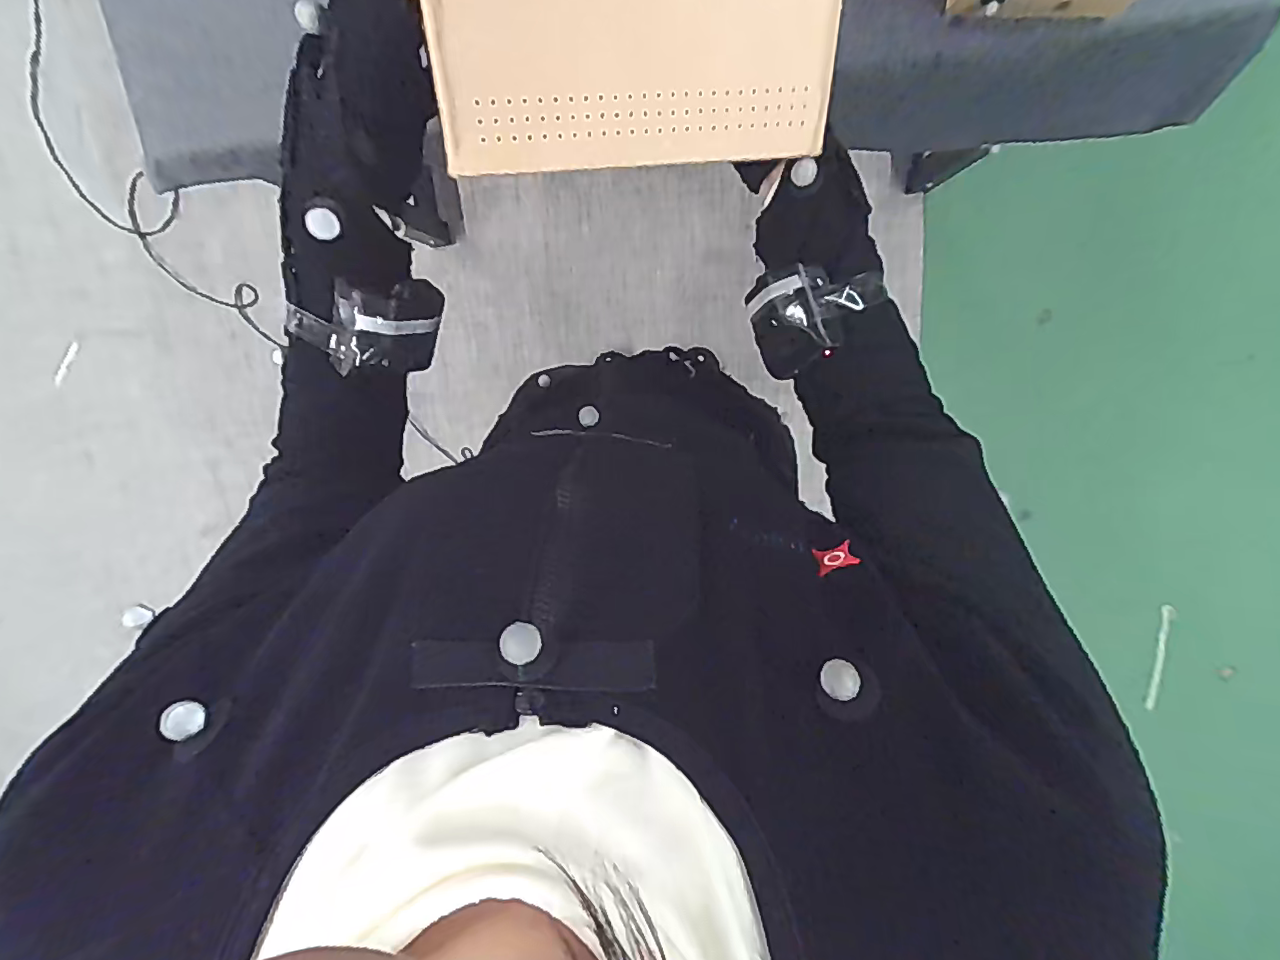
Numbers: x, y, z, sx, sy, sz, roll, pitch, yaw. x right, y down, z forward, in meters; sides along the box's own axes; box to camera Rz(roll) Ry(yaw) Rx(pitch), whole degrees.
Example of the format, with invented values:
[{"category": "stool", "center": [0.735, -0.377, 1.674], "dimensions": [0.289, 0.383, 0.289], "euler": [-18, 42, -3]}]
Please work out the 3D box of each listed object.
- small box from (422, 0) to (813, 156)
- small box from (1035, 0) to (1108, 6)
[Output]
[{"category": "small box", "center": [-0.023, -0.265, 0.266], "dimensions": [0.179, 0.168, 0.176], "euler": [-12, 127, -13]}, {"category": "small box", "center": [0.388, -0.541, 0.449], "dimensions": [0.168, 0.176, 0.179], "euler": [4, 103, 3]}]
